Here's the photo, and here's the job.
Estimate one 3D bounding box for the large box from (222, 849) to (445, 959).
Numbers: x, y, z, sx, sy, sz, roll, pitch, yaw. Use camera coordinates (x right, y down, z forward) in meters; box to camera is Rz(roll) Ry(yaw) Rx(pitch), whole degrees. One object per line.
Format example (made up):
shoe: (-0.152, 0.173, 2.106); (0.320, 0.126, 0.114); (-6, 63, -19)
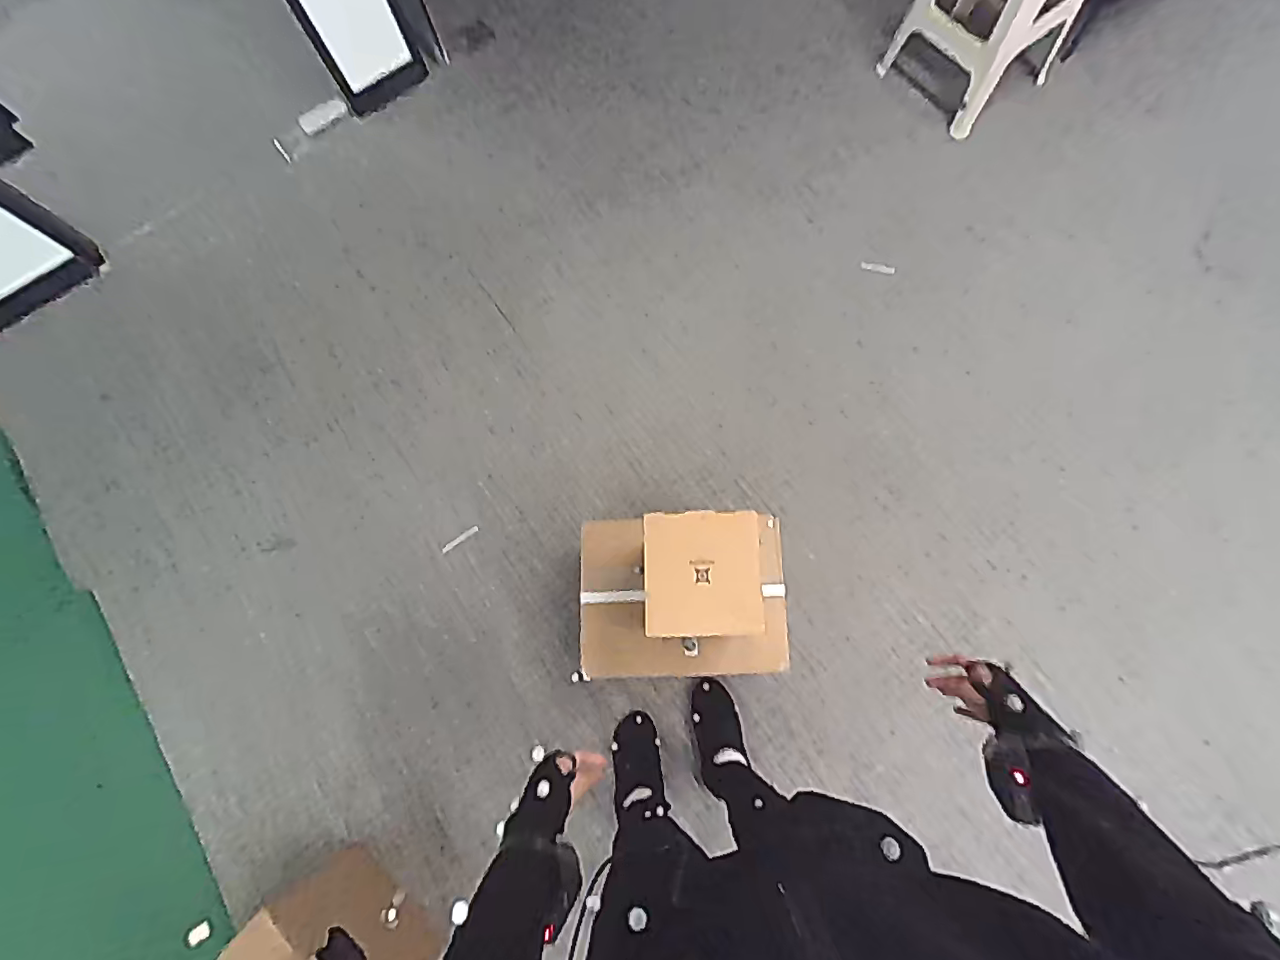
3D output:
large box: (-0.669, 1.048, 1.045); (0.320, 0.320, 0.408); (39, 81, 13)

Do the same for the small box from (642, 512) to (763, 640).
small box: (0.091, 0.153, 0.831); (0.168, 0.176, 0.179); (-2, 73, 3)
